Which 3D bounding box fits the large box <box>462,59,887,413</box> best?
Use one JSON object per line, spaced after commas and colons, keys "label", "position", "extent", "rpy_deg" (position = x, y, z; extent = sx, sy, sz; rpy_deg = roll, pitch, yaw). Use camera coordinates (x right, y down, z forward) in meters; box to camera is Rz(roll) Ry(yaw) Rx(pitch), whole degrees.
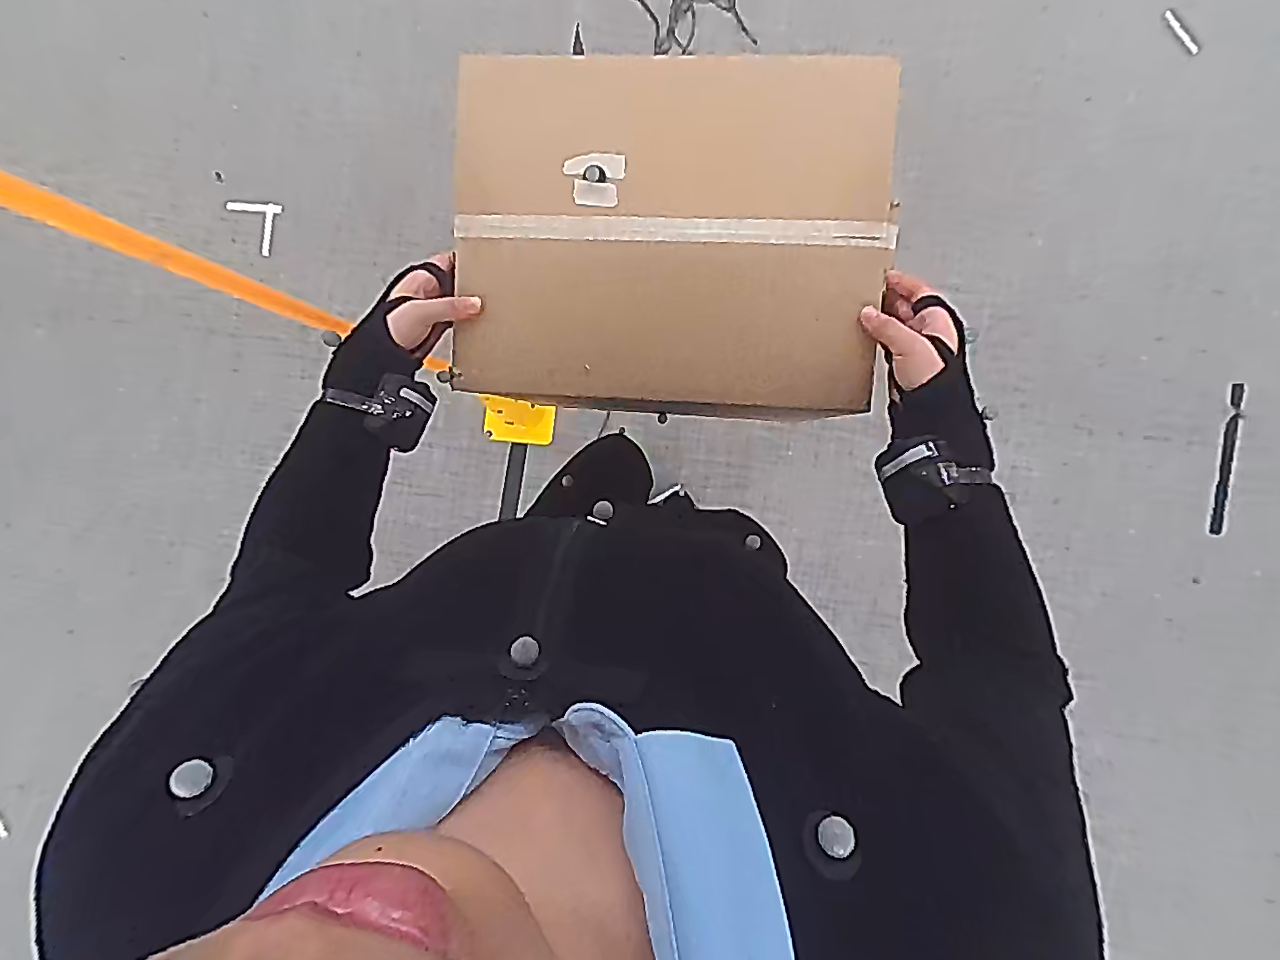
{"label": "large box", "position": [0.040, -0.248, 0.665], "extent": [0.408, 0.320, 0.320], "rpy_deg": [4, 93, 6]}
